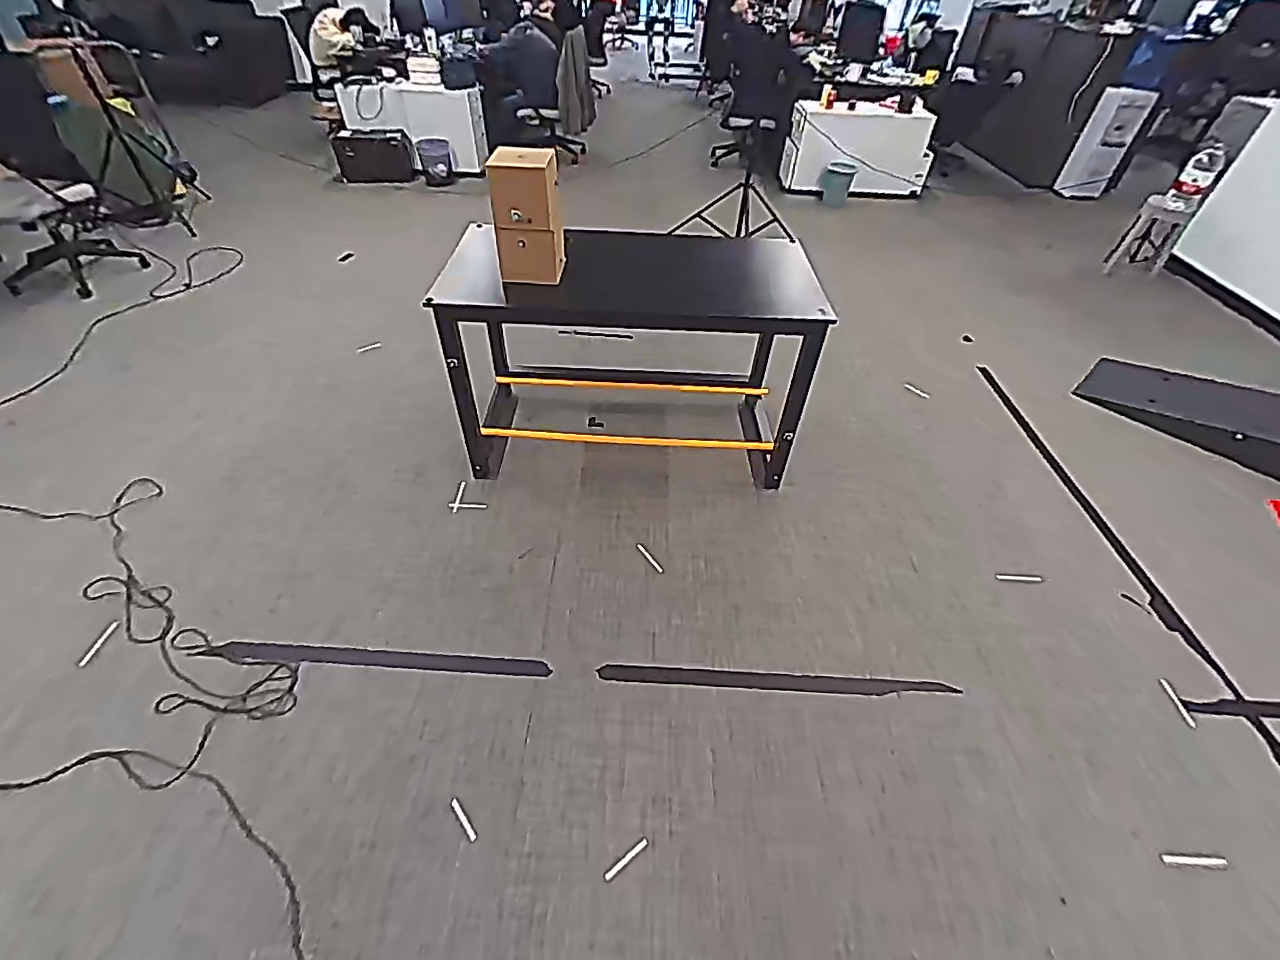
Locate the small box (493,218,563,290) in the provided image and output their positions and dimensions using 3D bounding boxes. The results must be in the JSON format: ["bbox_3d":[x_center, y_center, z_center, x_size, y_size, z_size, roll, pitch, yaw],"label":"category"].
[{"bbox_3d":[-0.341,-0.706,1.680,0.179,0.176,0.168,4,45,-1],"label":"small box"}]

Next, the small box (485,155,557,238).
[{"bbox_3d":[-0.337,-0.820,1.565,0.168,0.176,0.179,1,46,0],"label":"small box"}]
